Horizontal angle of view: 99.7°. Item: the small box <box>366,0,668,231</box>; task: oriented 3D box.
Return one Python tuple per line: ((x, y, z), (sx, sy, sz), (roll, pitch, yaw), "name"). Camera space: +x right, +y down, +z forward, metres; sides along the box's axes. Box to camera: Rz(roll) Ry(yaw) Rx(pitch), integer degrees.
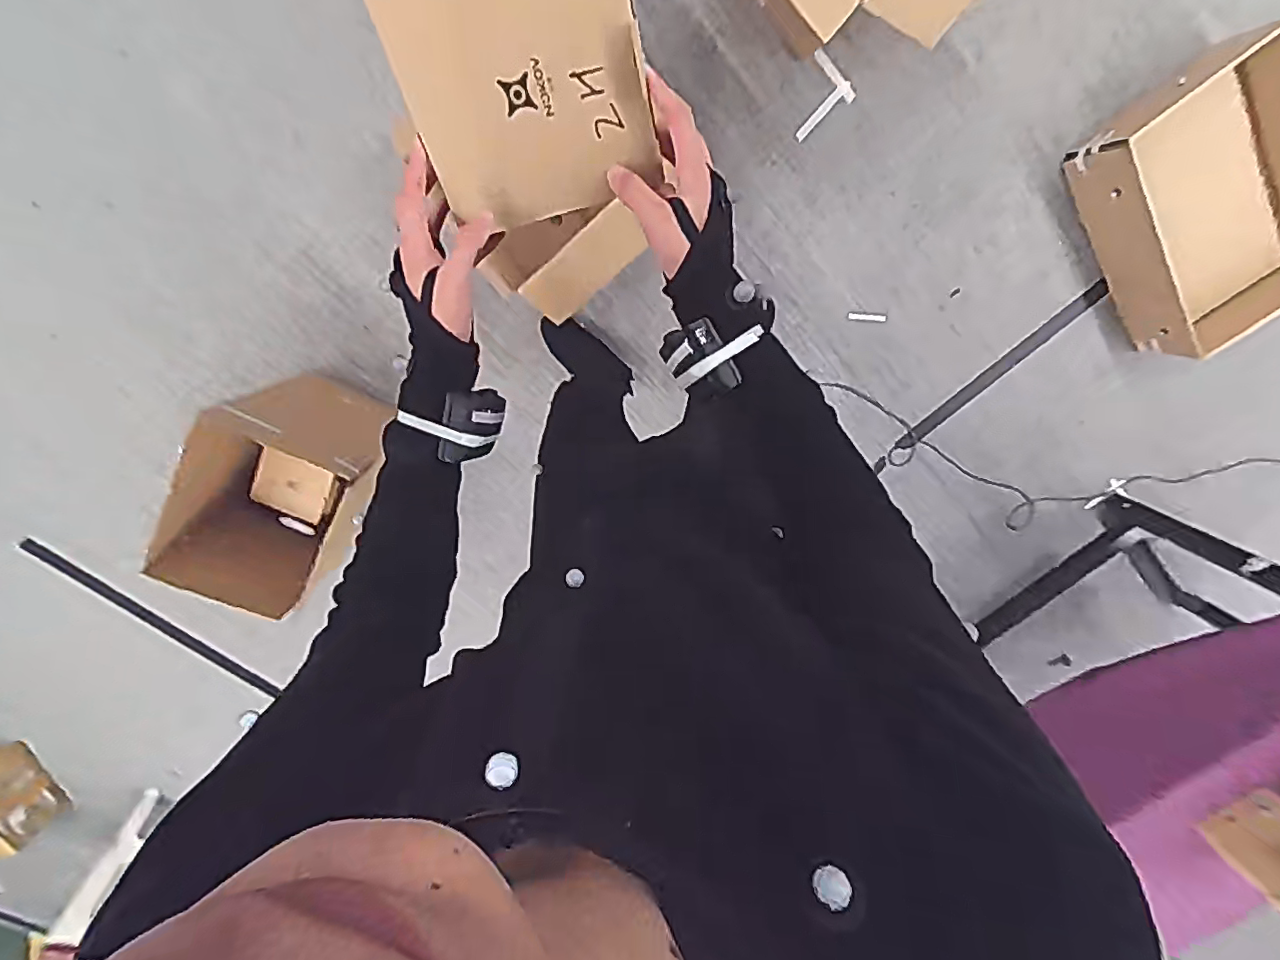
((-0.088, -0.328, 0.444), (0.179, 0.176, 0.168), (-15, 128, 1), "small box")
